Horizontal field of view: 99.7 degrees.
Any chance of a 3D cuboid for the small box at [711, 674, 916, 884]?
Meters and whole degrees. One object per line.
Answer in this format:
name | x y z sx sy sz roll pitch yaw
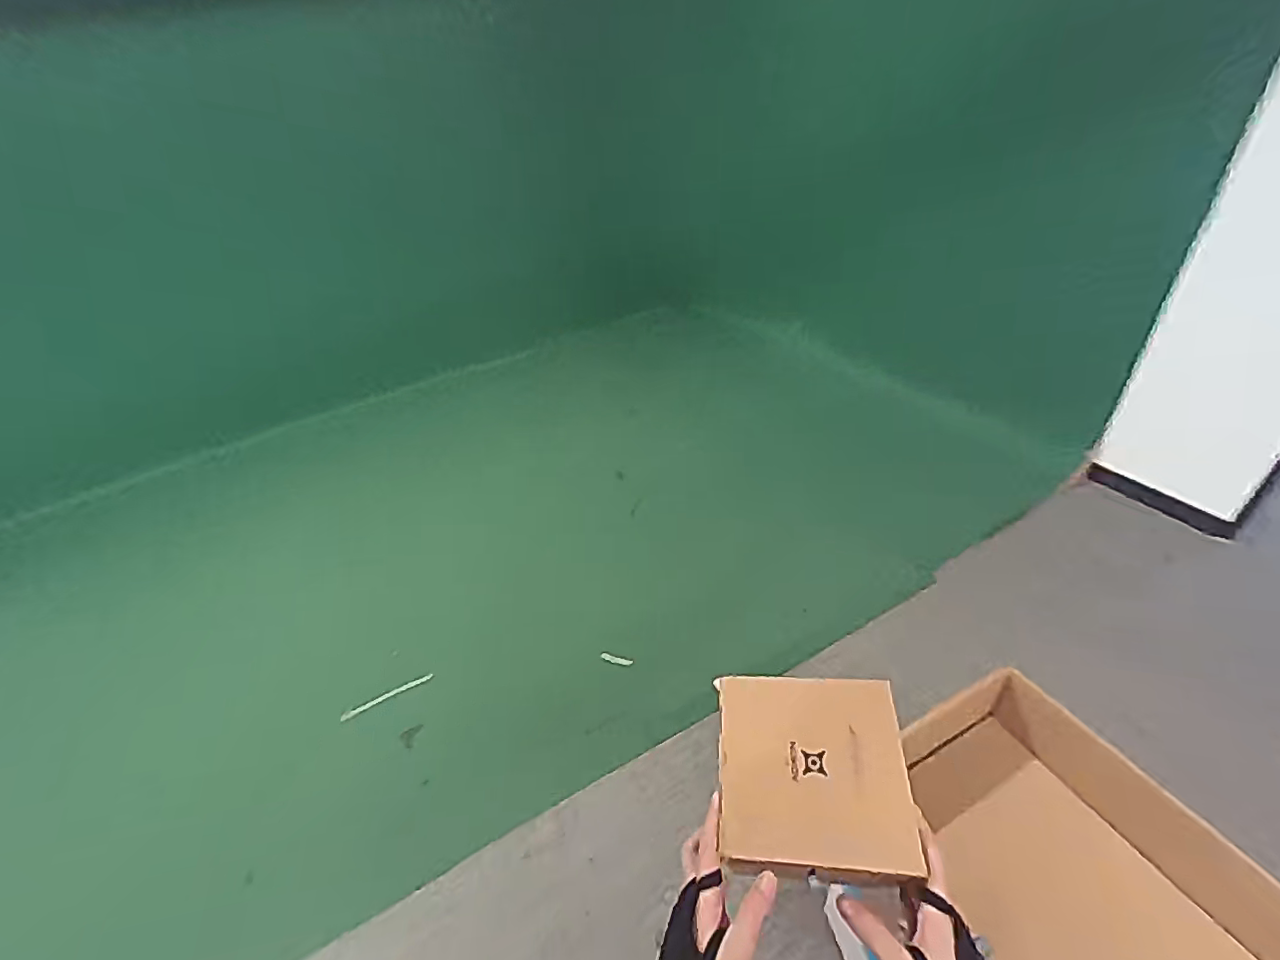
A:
small box | 0.174 0.322 0.582 0.179 0.176 0.168 -3 50 12
